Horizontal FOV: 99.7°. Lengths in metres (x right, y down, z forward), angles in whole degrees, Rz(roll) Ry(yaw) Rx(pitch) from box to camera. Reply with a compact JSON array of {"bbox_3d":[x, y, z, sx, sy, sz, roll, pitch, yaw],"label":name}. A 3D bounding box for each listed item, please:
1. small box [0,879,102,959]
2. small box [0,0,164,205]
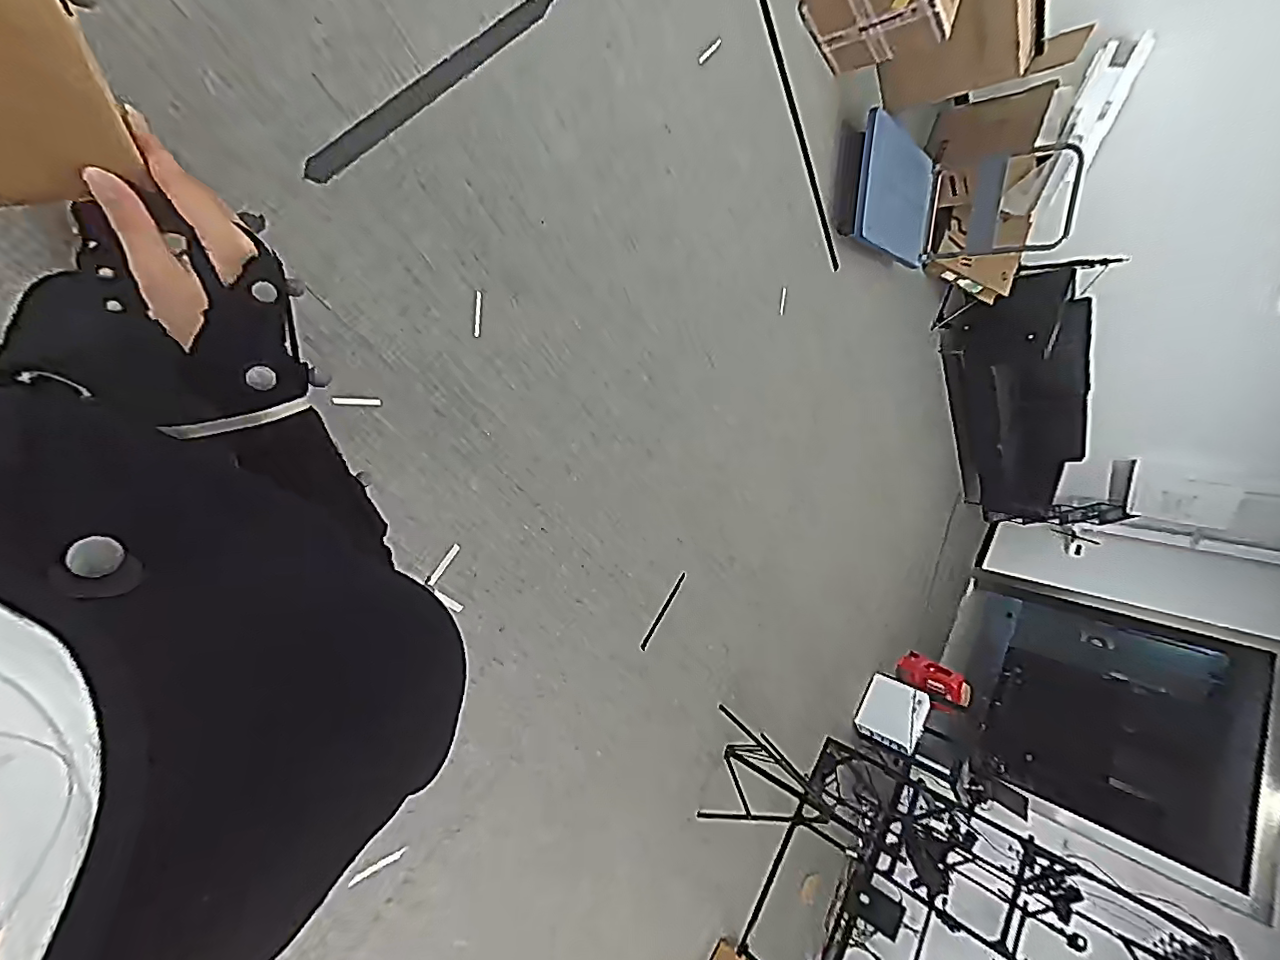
[{"bbox_3d":[-1.125,0.864,0.969,0.168,0.176,0.179,45,67,-44],"label":"small box"},{"bbox_3d":[-0.359,-0.240,0.222,0.179,0.168,0.176,-24,76,-28],"label":"small box"}]
